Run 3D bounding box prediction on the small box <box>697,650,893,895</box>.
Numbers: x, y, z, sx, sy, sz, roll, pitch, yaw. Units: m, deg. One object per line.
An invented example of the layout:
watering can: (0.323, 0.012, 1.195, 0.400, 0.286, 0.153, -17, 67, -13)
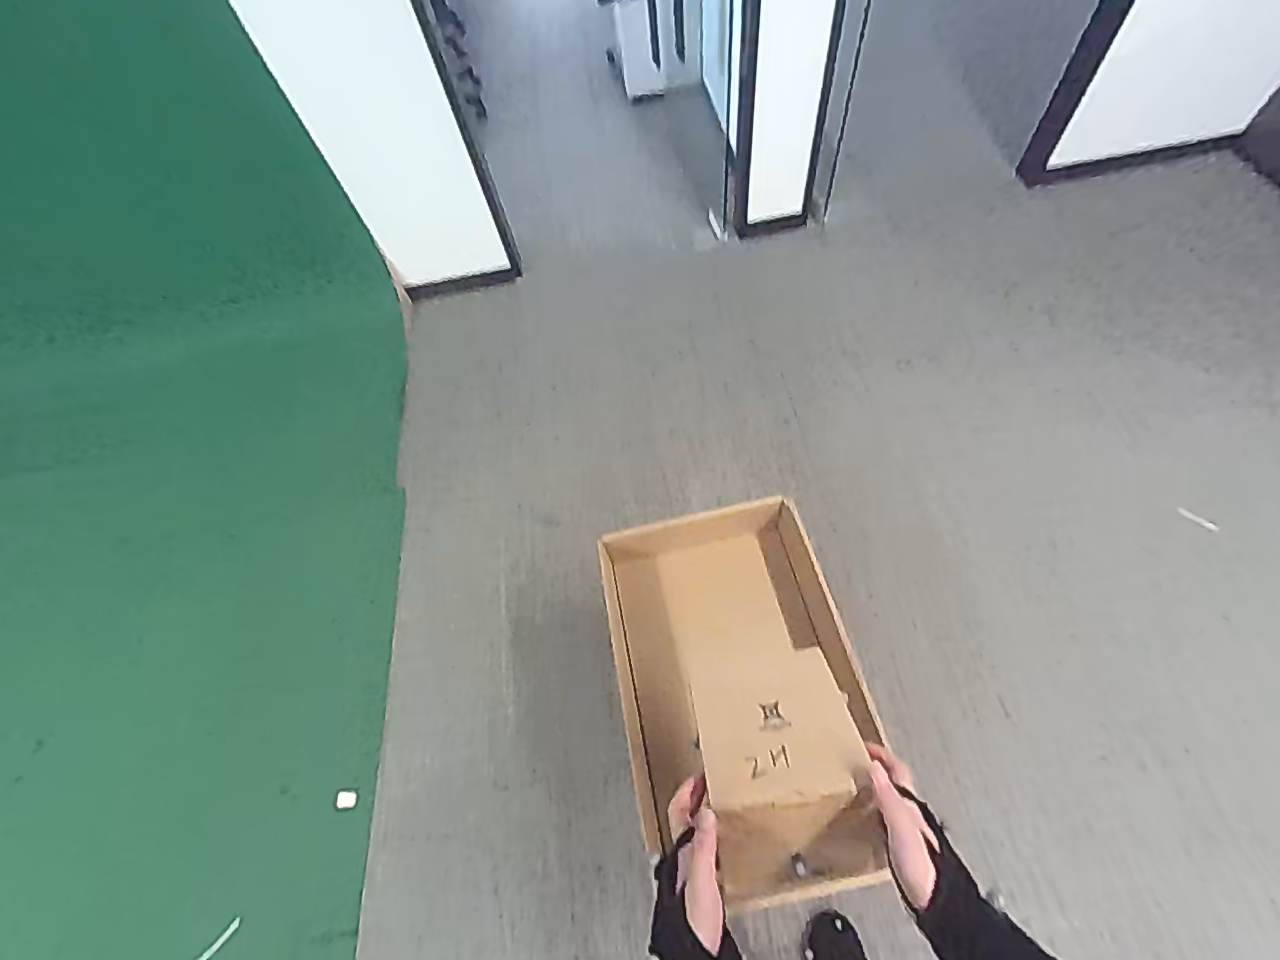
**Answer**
small box: (0.162, 0.326, 0.615, 0.168, 0.176, 0.179, -9, 31, 1)
